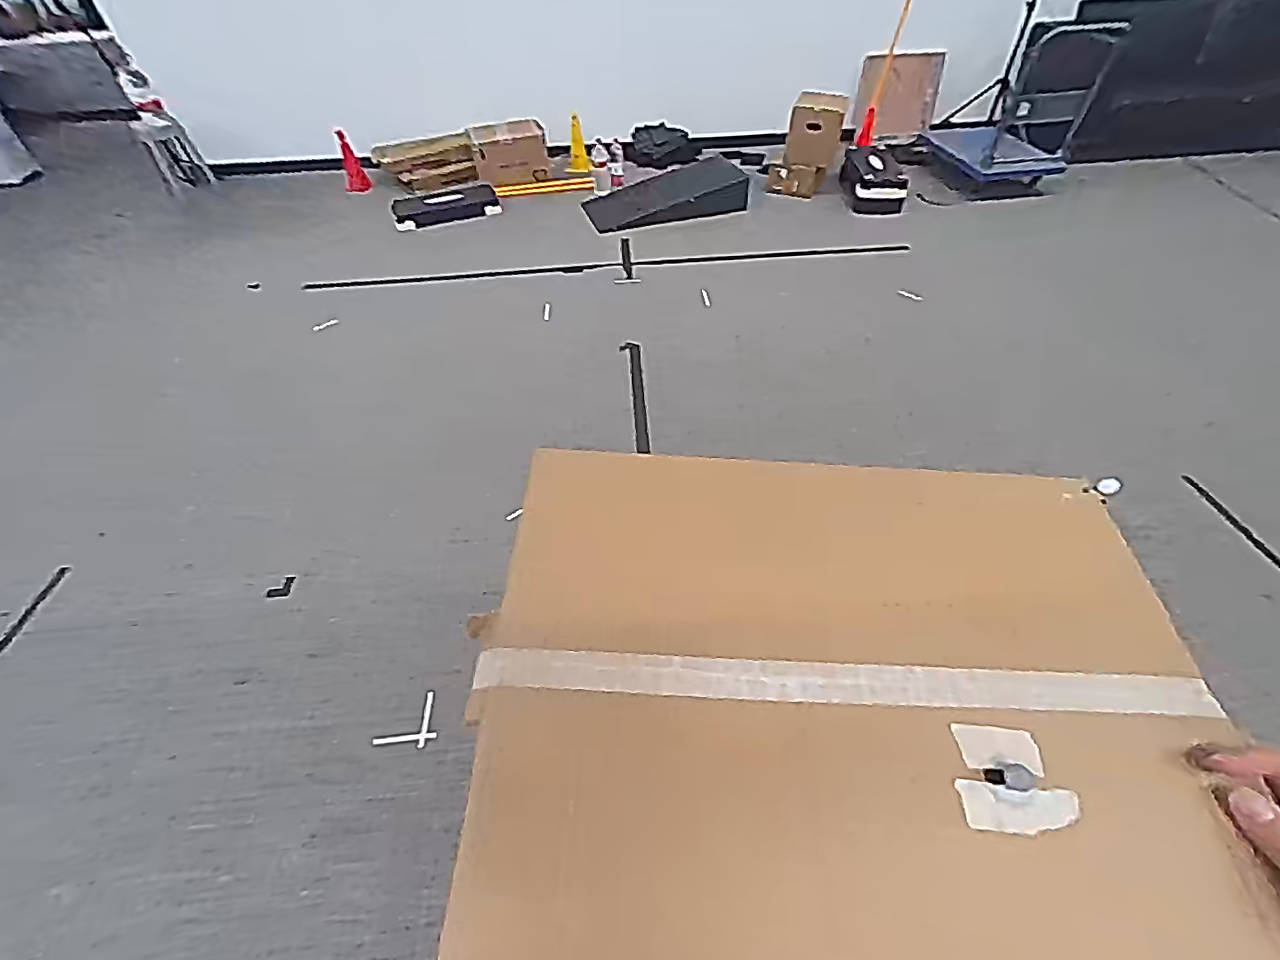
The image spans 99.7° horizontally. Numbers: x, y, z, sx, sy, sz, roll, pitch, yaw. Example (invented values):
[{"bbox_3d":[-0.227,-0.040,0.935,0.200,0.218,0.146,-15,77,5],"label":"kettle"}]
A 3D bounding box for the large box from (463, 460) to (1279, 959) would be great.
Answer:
[{"bbox_3d":[0.112,0.205,0.432,0.408,0.320,0.320,4,55,-2],"label":"large box"}]
